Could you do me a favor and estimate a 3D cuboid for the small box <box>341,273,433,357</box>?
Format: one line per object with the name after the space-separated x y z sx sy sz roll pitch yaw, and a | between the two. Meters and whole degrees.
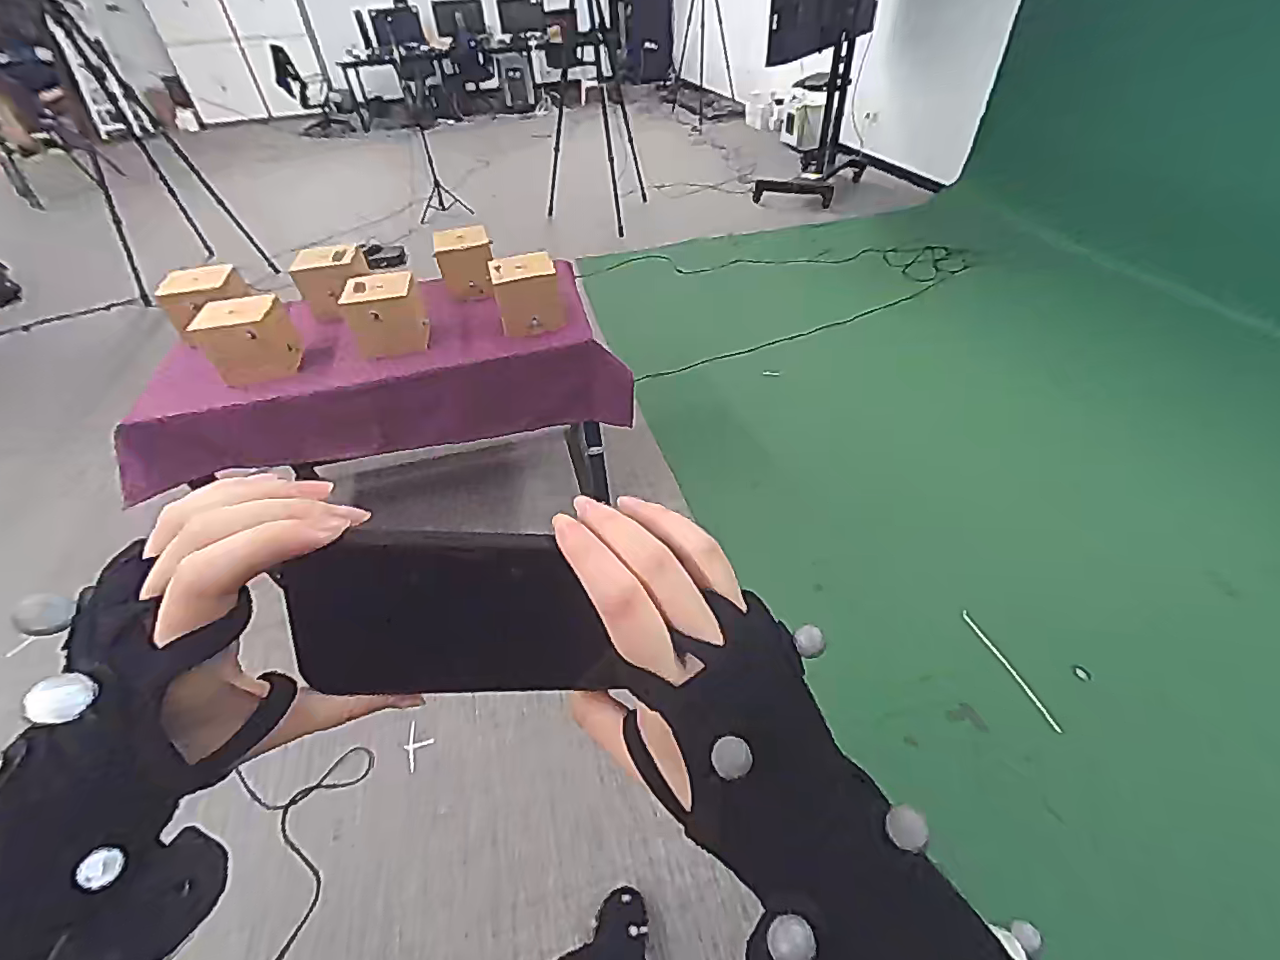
-0.701 -0.460 1.517 0.179 0.176 0.168 -10 44 -7 | small box

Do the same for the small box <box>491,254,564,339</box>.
-0.319 -0.530 1.561 0.179 0.176 0.168 -13 44 -10 | small box

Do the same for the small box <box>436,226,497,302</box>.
-0.553 -0.698 1.752 0.168 0.176 0.179 -15 45 -10 | small box

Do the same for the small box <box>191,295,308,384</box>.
-1.037 -0.375 1.453 0.179 0.176 0.168 -11 44 -9 | small box
